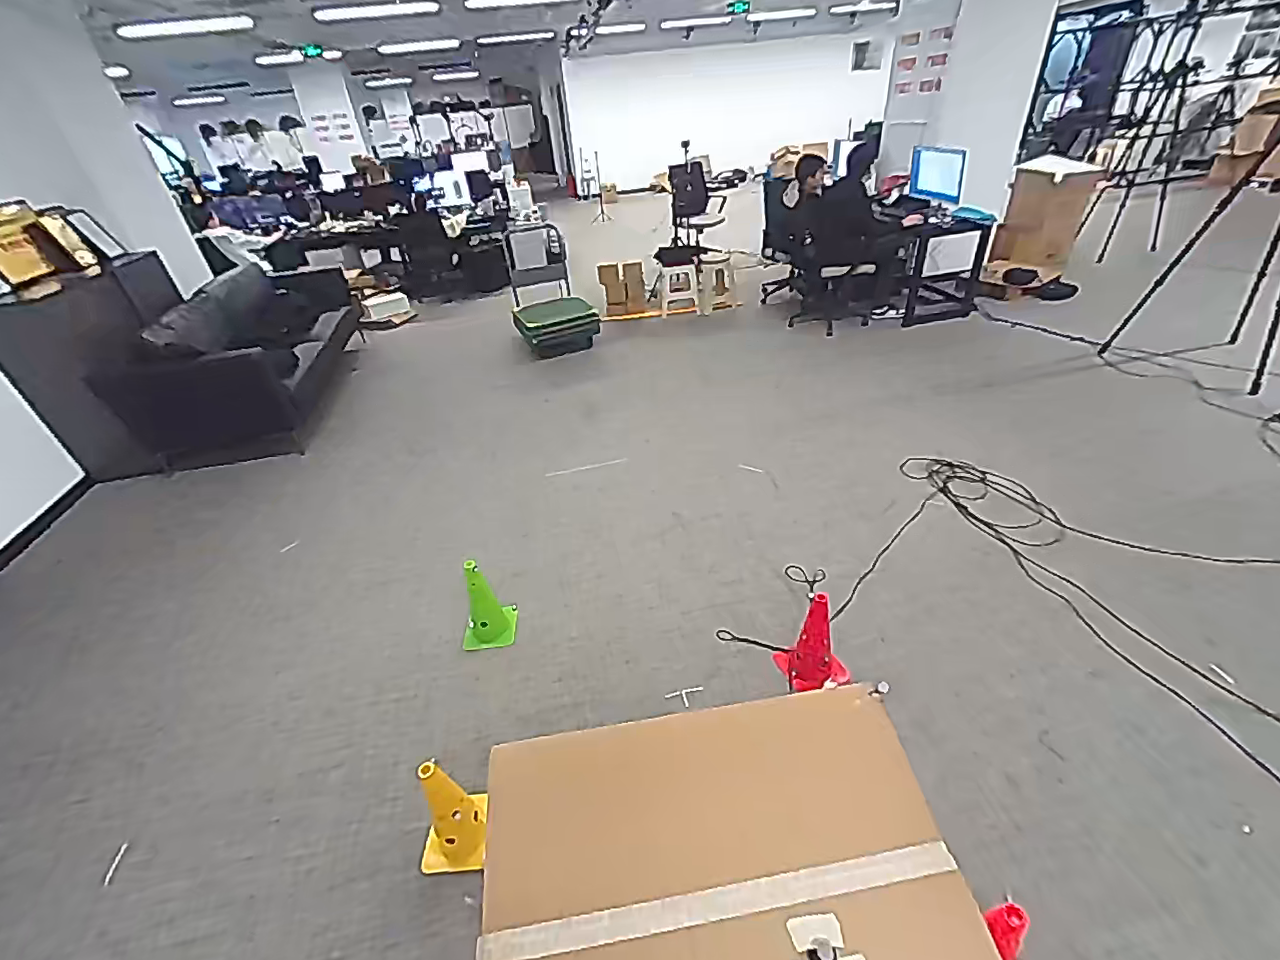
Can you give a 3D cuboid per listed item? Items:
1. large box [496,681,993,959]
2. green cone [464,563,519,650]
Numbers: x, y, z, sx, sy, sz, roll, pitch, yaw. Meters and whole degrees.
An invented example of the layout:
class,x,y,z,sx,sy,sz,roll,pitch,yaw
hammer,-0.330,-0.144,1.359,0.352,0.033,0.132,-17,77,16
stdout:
class,x,y,z,sx,sy,sz,roll,pitch,yaw
large box,0.078,0.457,0.576,0.408,0.320,0.320,-8,49,-5
green cone,-0.610,0.455,2.076,0.200,0.368,0.202,-8,36,-1
